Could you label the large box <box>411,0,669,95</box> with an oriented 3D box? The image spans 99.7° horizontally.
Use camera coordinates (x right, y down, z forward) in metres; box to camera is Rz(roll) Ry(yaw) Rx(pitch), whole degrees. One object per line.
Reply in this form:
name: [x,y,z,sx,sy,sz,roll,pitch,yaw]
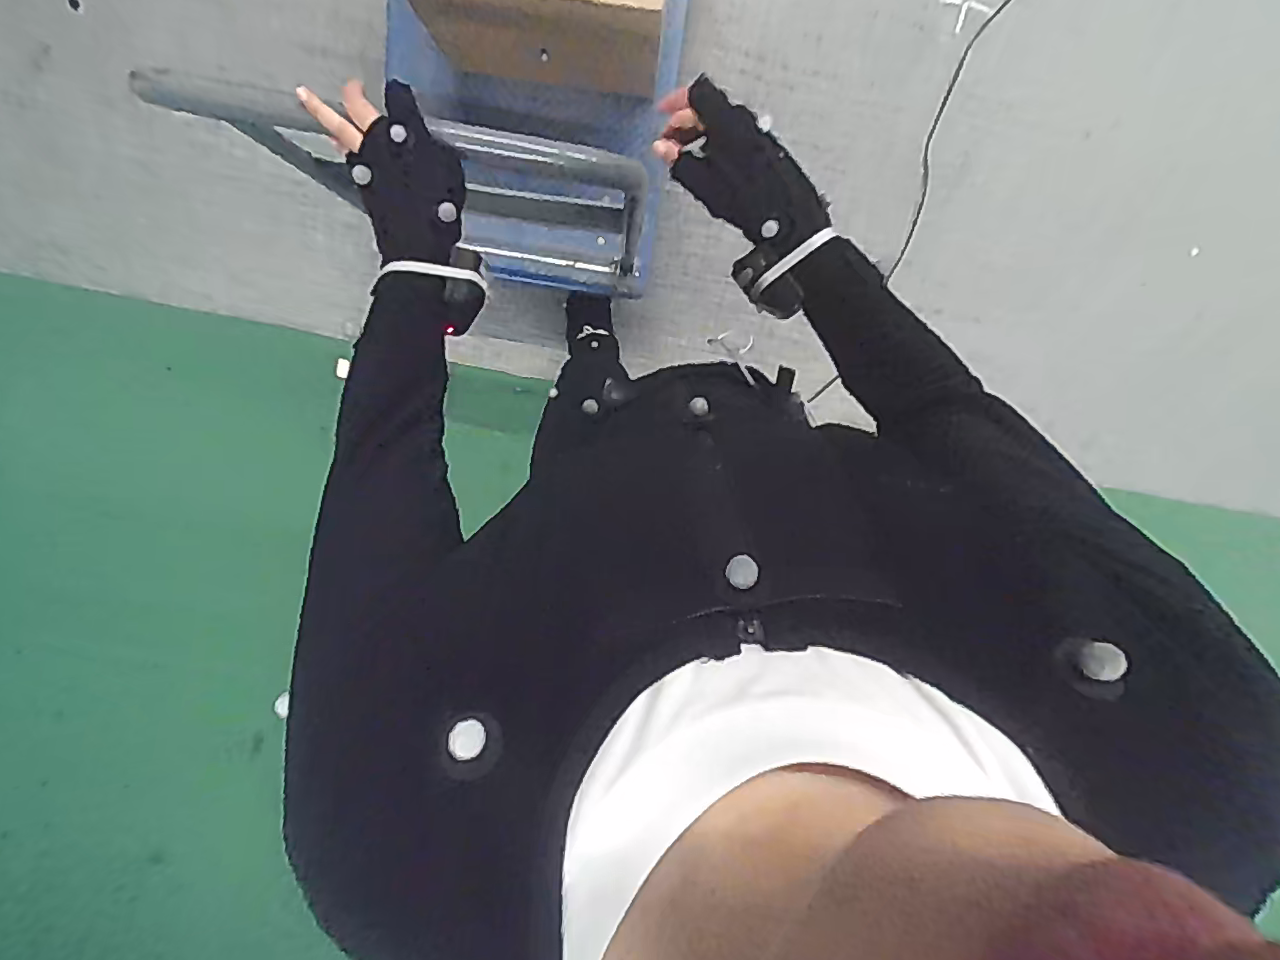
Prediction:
large box: [-0.147,-0.900,0.907,0.408,0.320,0.320,7,103,-1]
